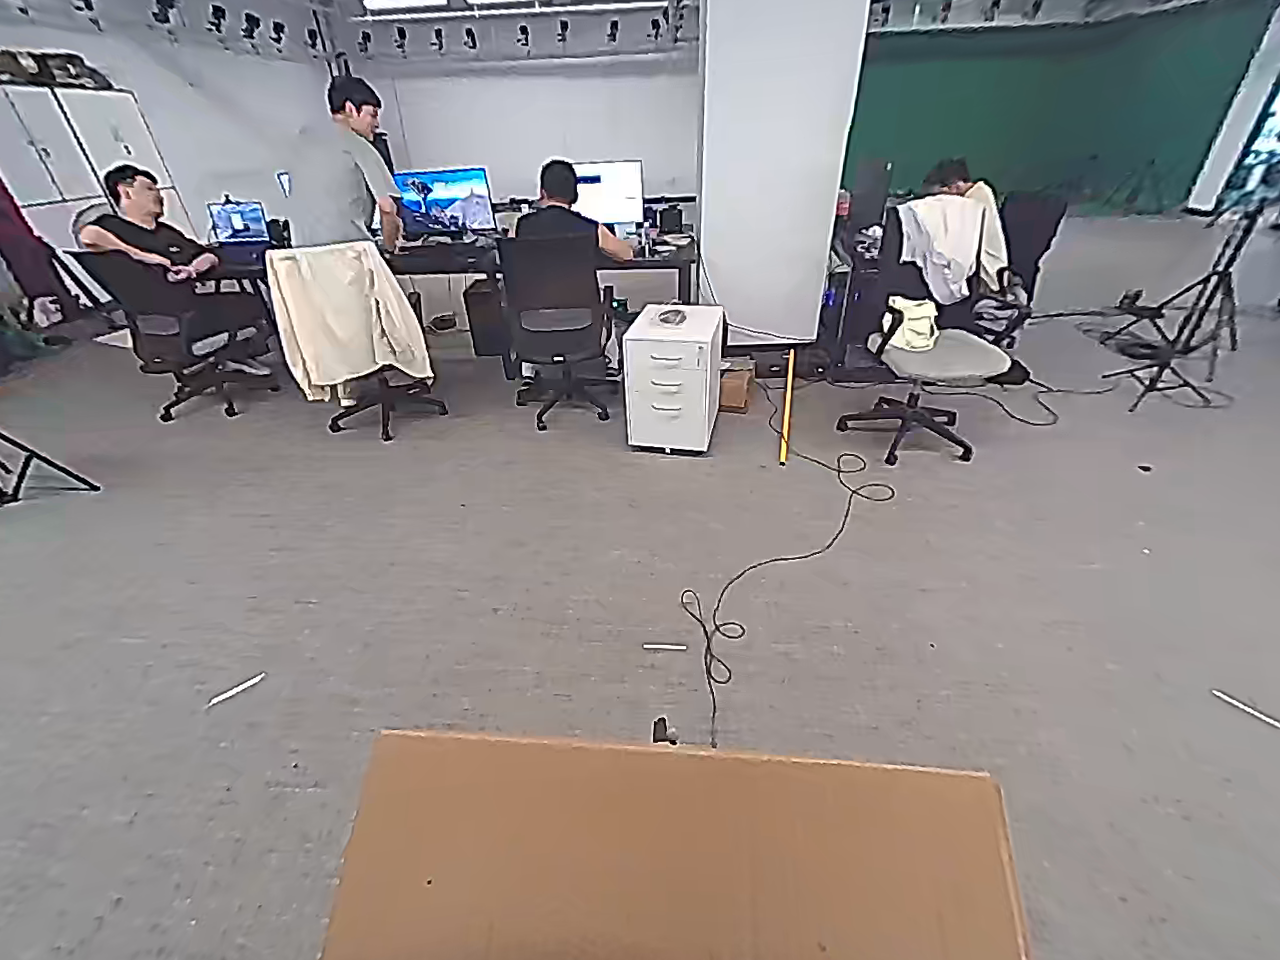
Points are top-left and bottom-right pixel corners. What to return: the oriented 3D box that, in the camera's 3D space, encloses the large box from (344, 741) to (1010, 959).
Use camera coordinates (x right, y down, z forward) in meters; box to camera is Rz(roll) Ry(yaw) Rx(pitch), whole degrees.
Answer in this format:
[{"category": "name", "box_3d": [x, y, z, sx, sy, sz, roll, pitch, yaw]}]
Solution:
[{"category": "large box", "box_3d": [0.024, 0.393, 0.436, 0.408, 0.320, 0.320, 2, 64, 5]}]
